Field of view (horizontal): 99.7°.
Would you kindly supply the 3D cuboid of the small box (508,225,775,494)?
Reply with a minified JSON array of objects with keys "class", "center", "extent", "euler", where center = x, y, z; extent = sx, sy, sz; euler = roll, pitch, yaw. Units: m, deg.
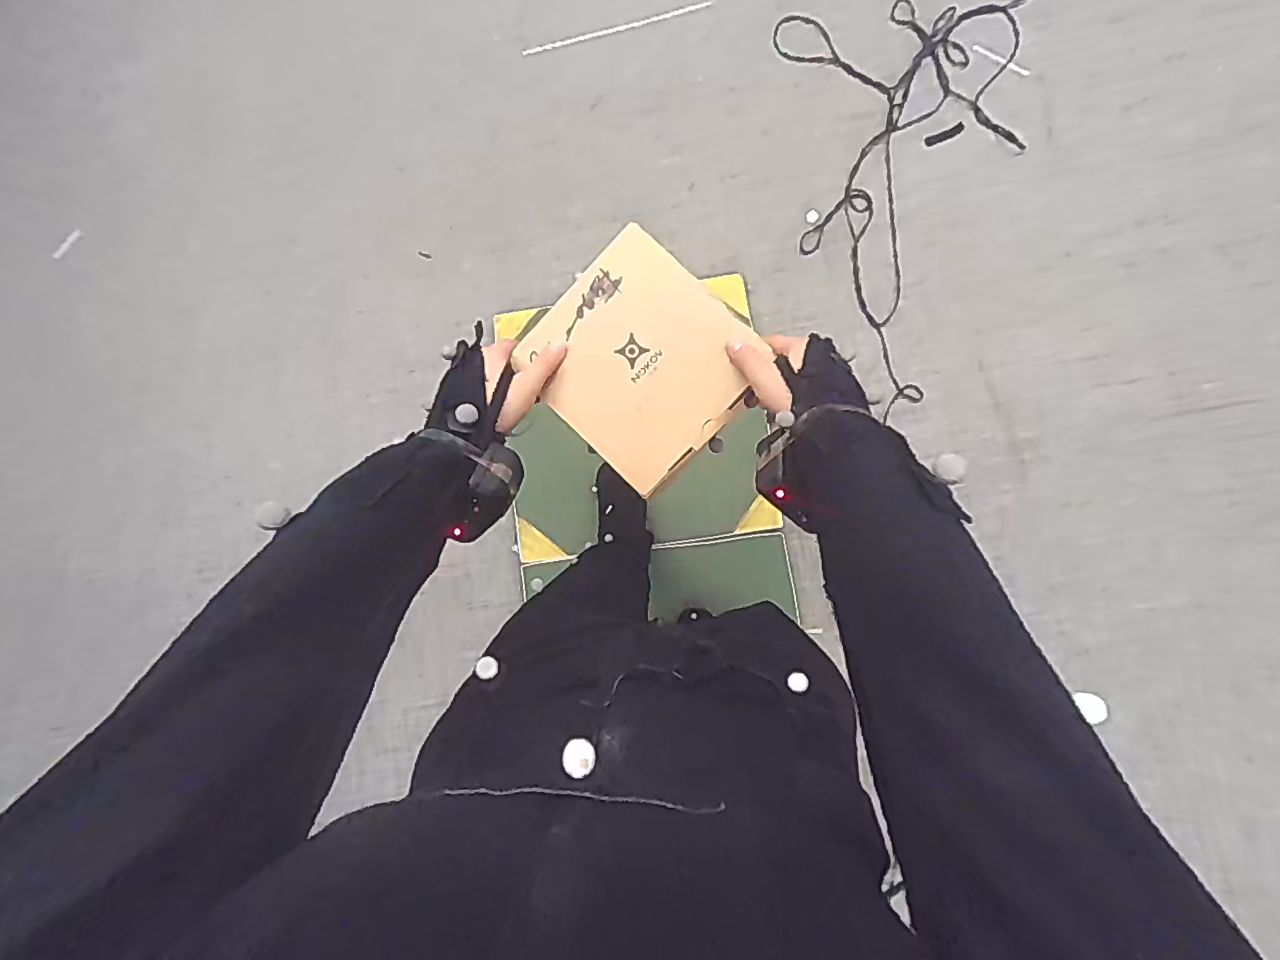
[{"class":"small box","center":[0.007,-0.106,0.545],"extent":[0.179,0.176,0.168],"euler":[44,94,4]}]
